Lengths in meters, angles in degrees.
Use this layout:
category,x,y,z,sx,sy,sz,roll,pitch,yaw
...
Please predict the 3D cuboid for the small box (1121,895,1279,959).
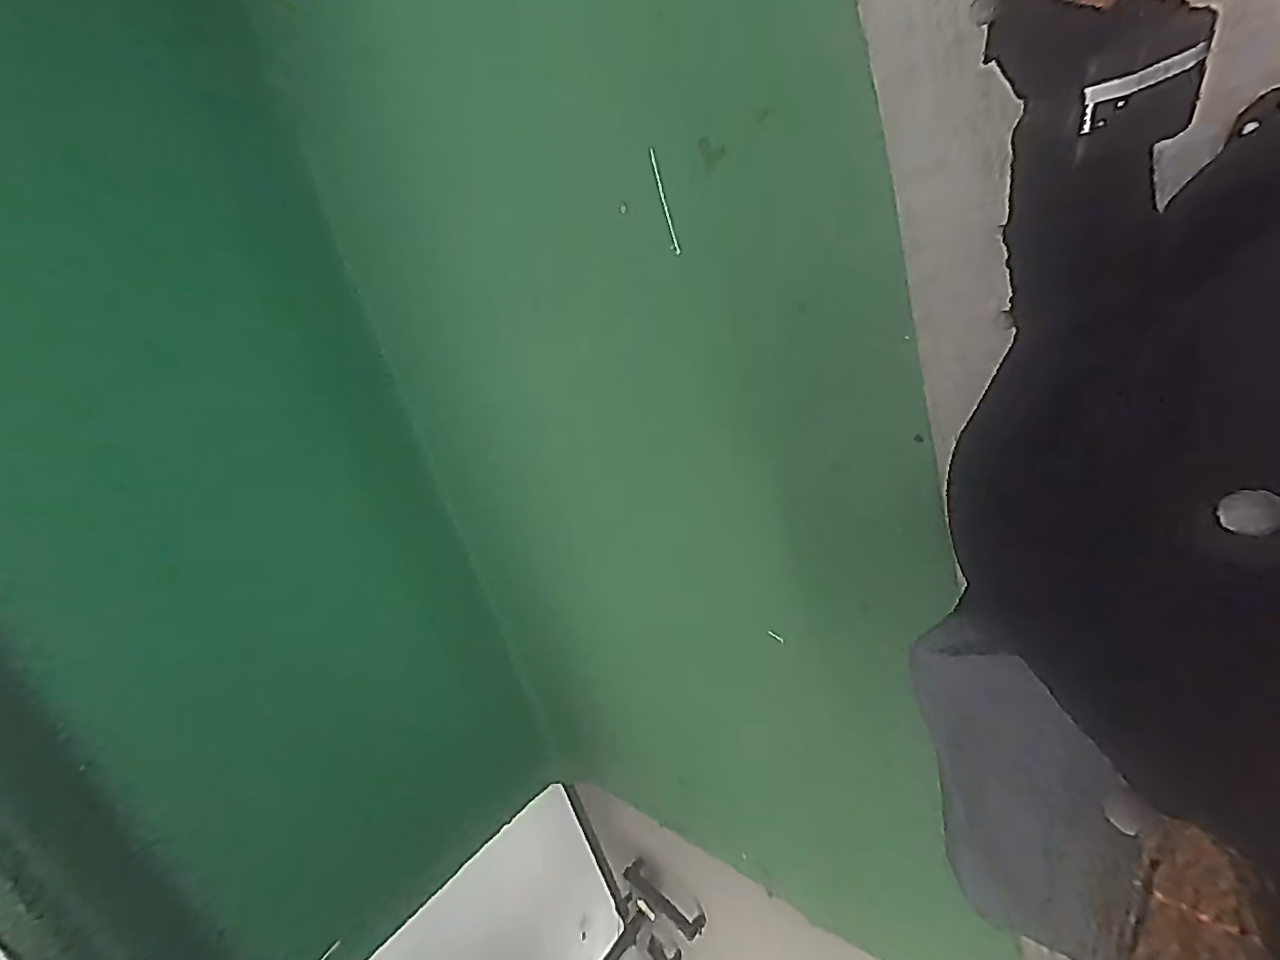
category,x,y,z,sx,sy,sz,roll,pitch,yaw
small box,0.596,0.577,0.536,0.179,0.176,0.168,11,120,43
